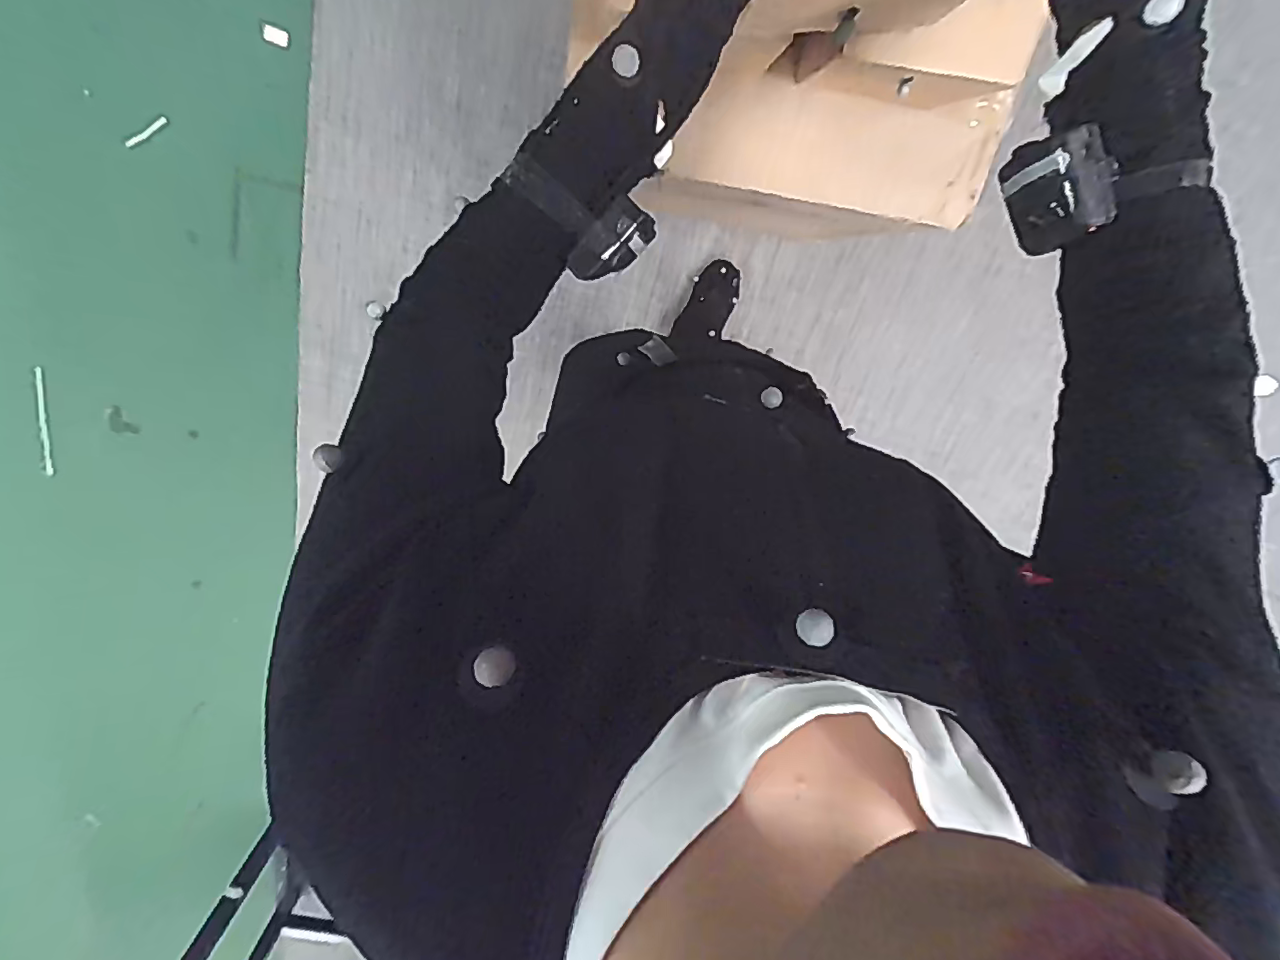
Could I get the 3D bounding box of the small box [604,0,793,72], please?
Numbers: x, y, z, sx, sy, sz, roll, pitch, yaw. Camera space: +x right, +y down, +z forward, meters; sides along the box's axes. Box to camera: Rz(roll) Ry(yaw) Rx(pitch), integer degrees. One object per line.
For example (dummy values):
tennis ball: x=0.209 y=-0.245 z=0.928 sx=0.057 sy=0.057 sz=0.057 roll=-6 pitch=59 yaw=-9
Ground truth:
small box: x=0.065 y=-0.518 z=0.519 sx=0.179 sy=0.176 sz=0.168 roll=7 pitch=118 yaw=-4

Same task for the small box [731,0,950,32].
small box: x=0.166 y=-0.436 z=0.367 sx=0.179 sy=0.176 sz=0.168 roll=-3 pitch=114 yaw=0

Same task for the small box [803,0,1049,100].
small box: x=0.278 y=-0.490 z=0.531 sx=0.179 sy=0.176 sz=0.168 roll=6 pitch=119 yaw=-3
